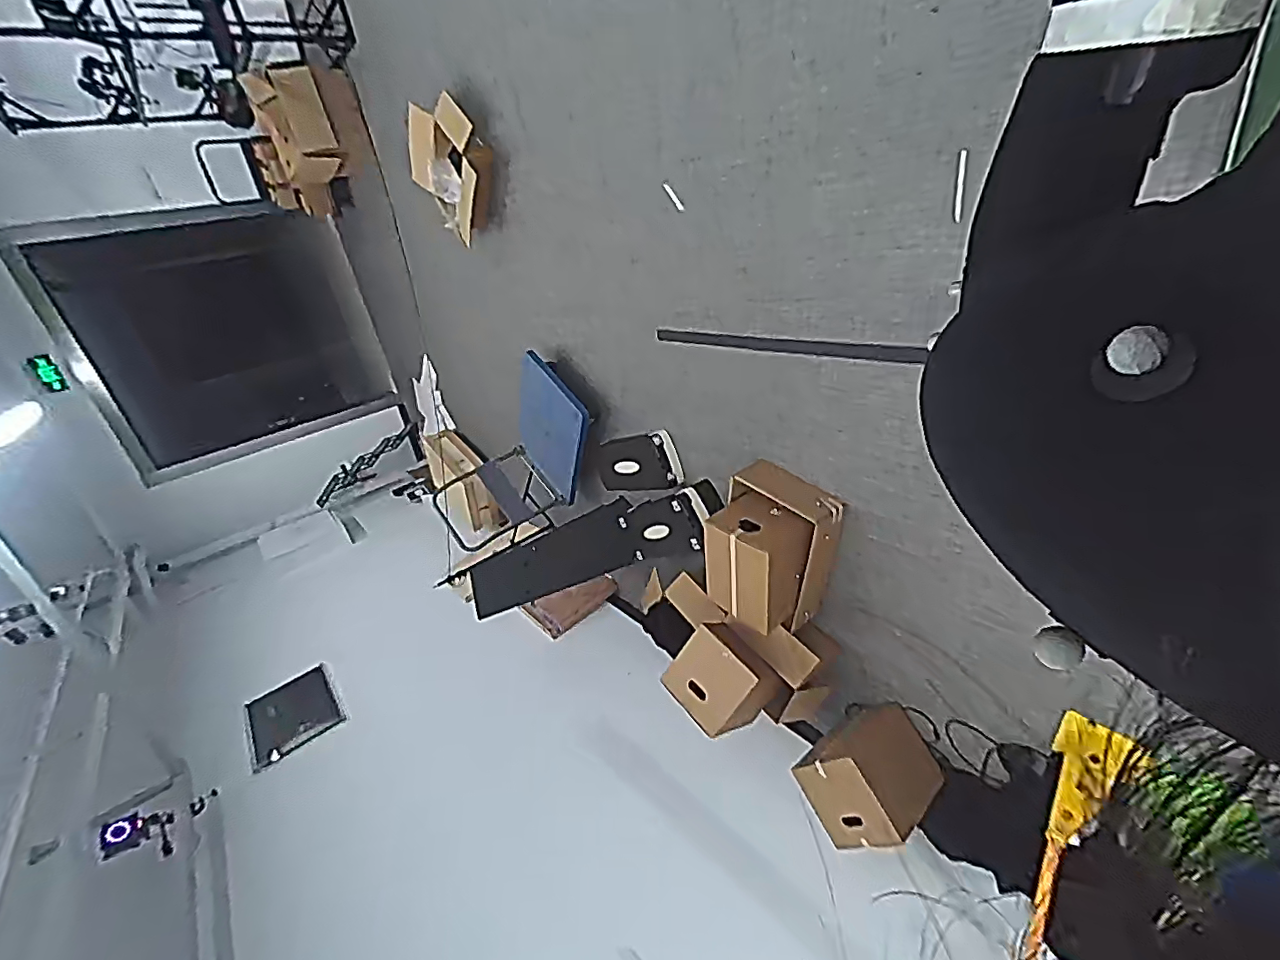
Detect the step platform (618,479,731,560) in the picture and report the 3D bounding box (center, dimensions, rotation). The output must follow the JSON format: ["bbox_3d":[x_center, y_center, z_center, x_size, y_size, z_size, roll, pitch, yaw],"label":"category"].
[{"bbox_3d":[0.146,0.217,2.730,0.684,0.204,0.286,-25,93,58],"label":"step platform"}]
